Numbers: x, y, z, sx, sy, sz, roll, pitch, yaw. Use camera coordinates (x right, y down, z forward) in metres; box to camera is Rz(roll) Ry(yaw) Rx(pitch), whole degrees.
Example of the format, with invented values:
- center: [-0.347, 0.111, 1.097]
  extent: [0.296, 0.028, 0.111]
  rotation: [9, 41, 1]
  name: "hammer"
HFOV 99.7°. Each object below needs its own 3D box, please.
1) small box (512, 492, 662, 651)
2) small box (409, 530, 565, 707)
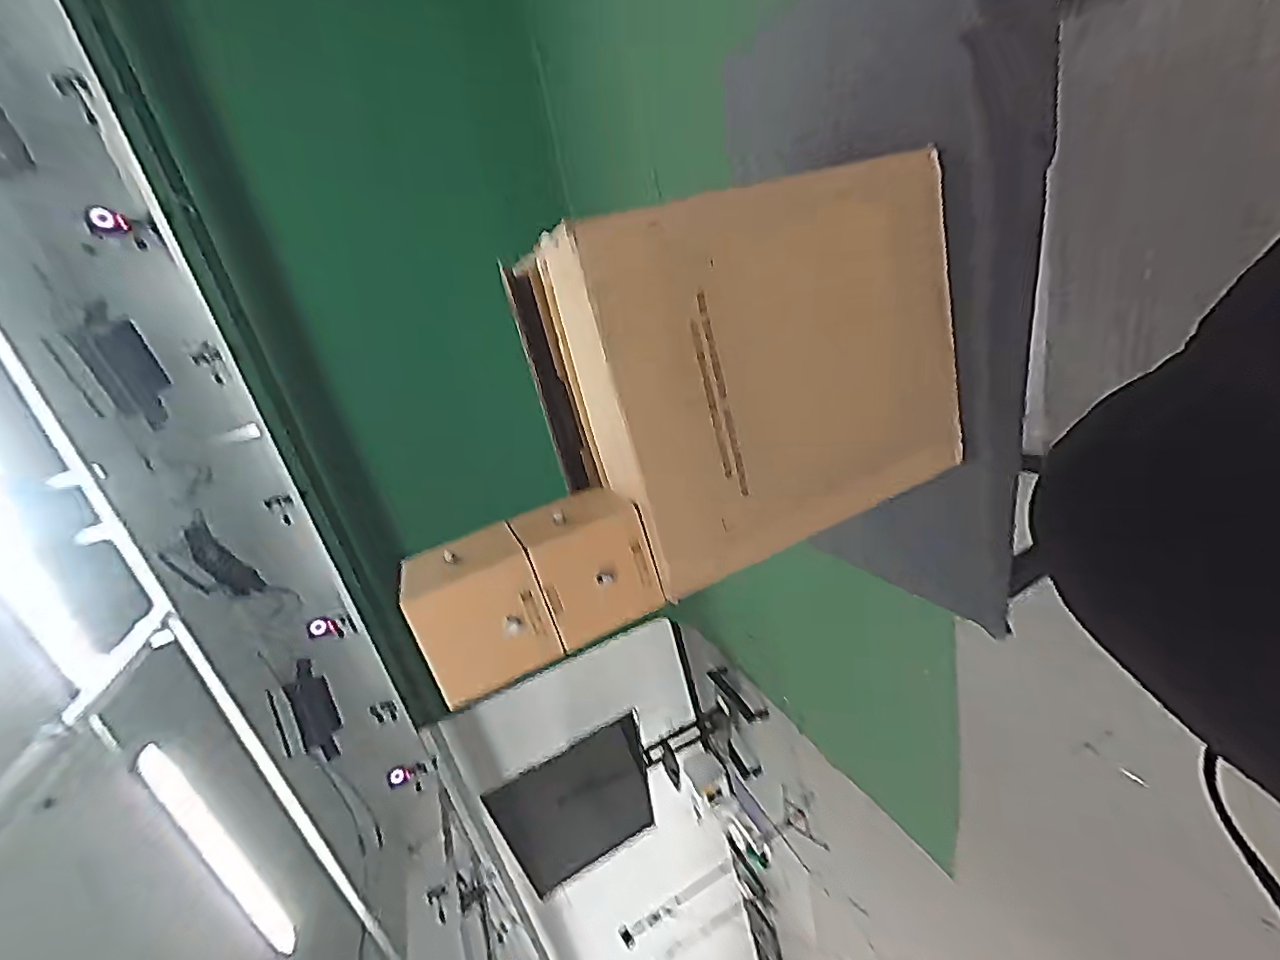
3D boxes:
- center: [-0.080, 0.131, 0.852]
  extent: [0.179, 0.176, 0.168]
  rotation: [20, 130, 66]
  name: "small box"
- center: [-0.225, 0.189, 0.801]
  extent: [0.179, 0.176, 0.168]
  rotation: [22, 132, 65]
  name: "small box"
